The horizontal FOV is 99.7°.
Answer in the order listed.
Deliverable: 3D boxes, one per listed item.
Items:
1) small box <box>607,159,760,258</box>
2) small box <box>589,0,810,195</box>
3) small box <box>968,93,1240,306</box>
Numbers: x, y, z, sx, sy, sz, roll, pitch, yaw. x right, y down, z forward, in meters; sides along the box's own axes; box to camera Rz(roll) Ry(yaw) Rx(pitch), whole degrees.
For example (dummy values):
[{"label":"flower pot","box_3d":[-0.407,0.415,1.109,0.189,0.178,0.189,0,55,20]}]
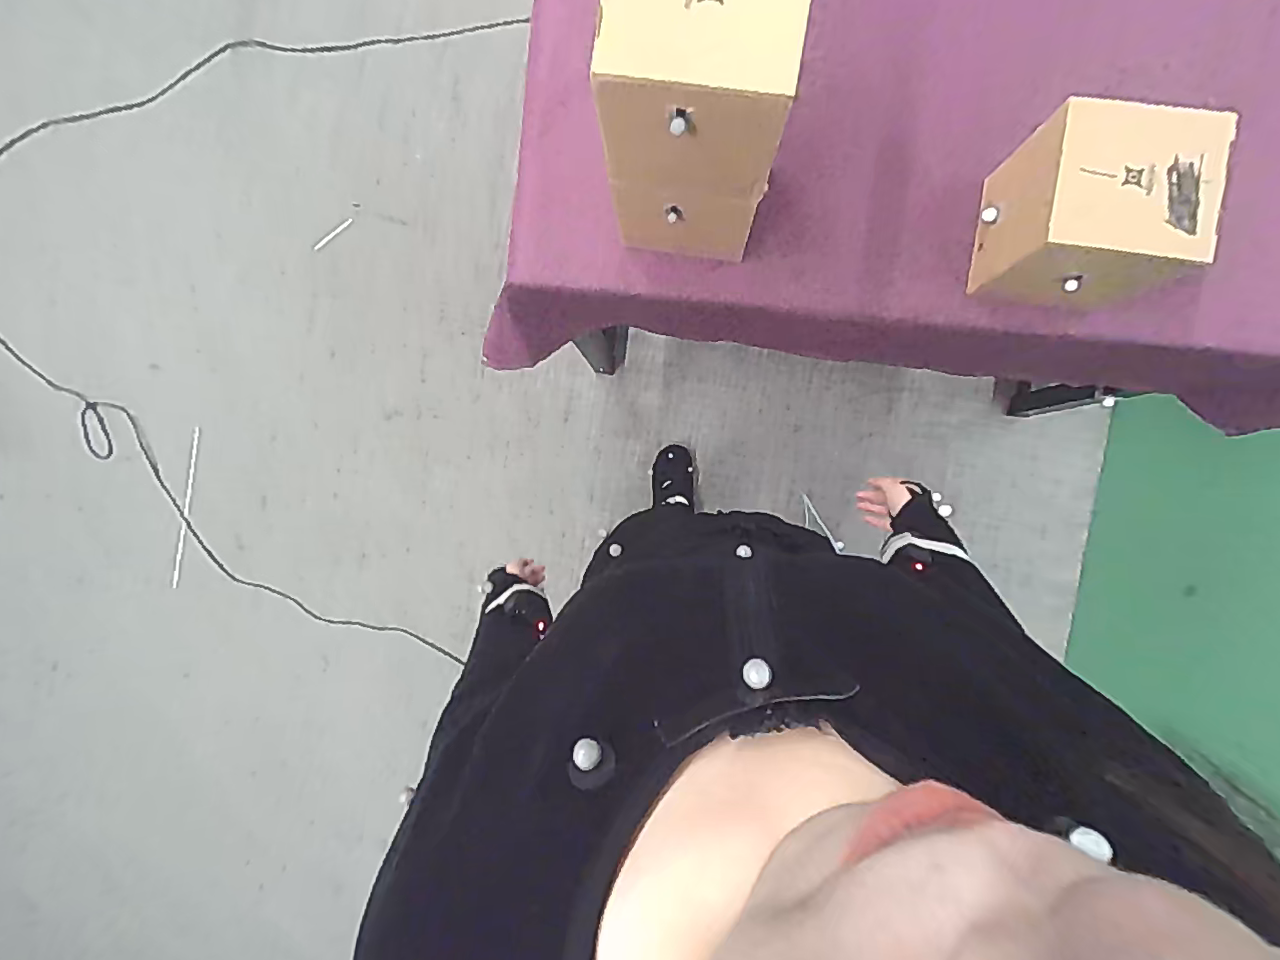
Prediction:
[{"label":"small box","box_3d":[0.066,-0.405,0.692,0.179,0.176,0.168,10,91,4]},{"label":"small box","box_3d":[0.060,-0.406,0.529,0.179,0.176,0.168,9,90,5]},{"label":"small box","box_3d":[0.544,-0.325,0.660,0.179,0.176,0.168,9,90,5]}]
